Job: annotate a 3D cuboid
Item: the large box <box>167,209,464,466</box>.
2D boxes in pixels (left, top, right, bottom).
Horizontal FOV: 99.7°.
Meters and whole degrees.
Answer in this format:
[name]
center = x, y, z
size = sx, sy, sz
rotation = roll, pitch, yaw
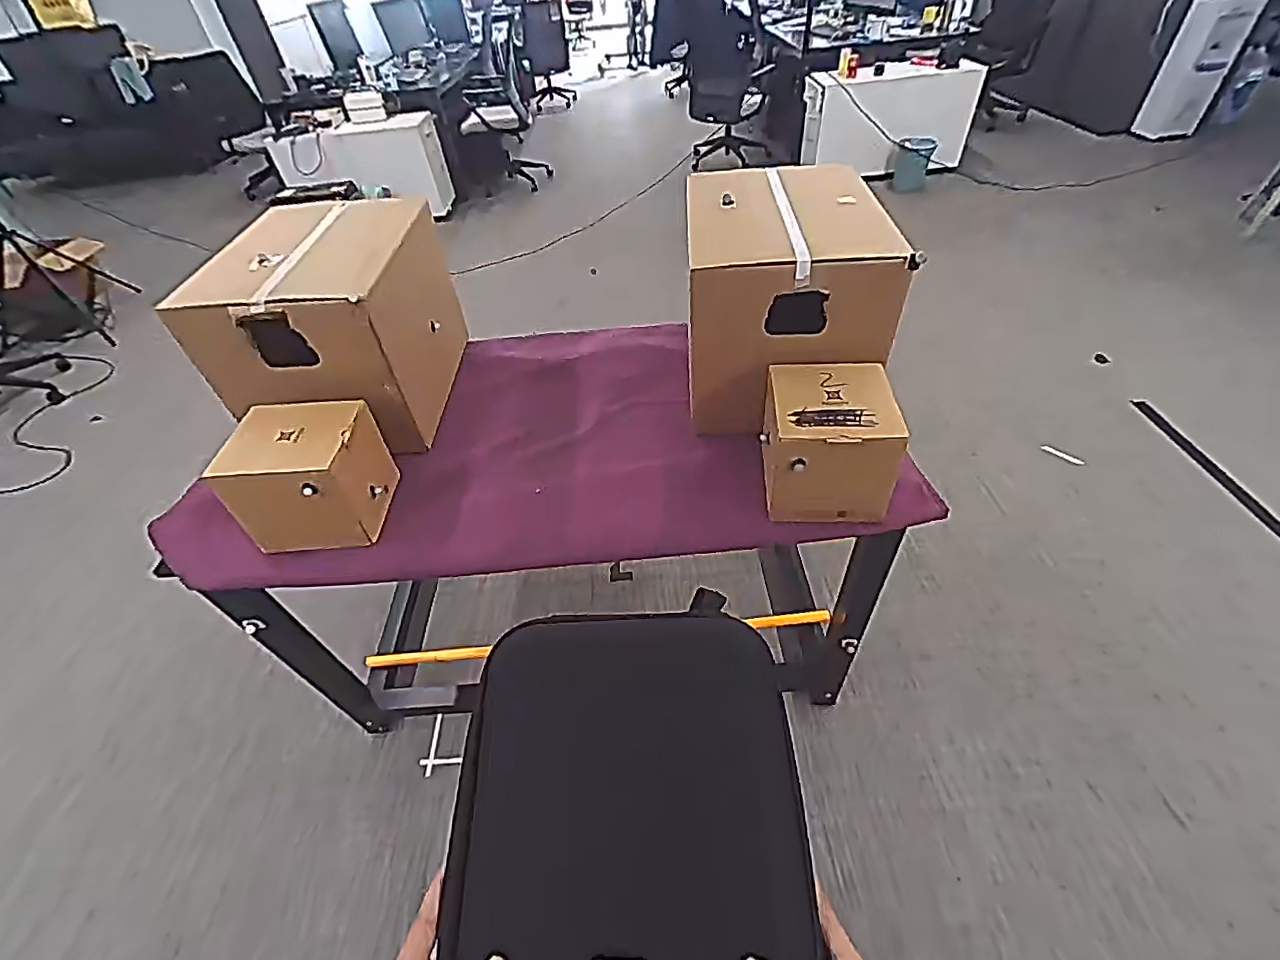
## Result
[large box]
center = -0.557, -0.280, 1.042
size = 0.320, 0.320, 0.408
rotation = -4, 48, 1
